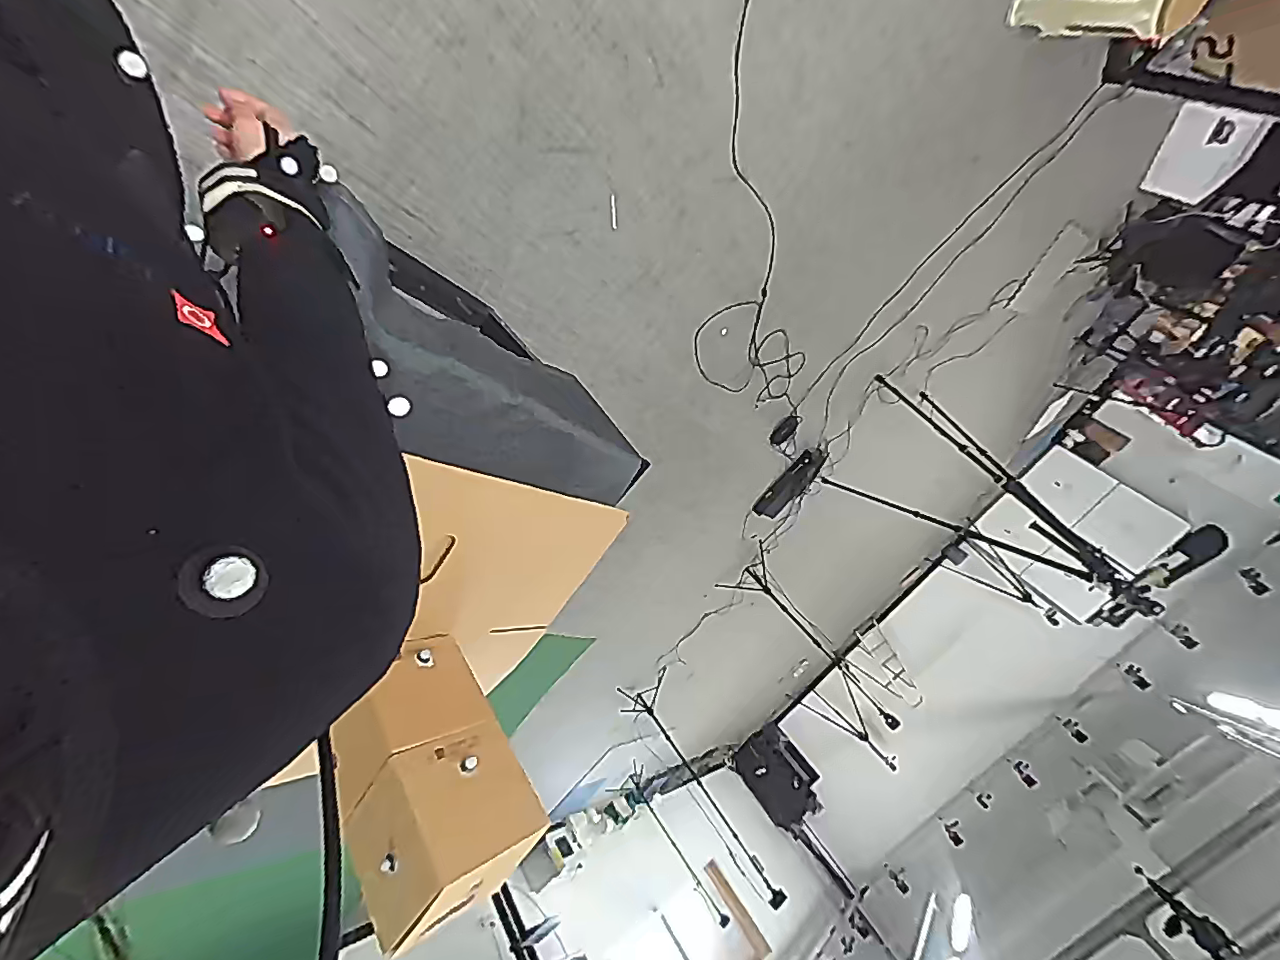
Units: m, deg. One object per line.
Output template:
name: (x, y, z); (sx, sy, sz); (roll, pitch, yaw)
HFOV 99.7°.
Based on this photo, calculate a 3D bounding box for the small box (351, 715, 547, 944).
small box: (-0.265, 0.458, 0.735); (0.168, 0.176, 0.179); (6, 125, -53)

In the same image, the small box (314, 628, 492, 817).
small box: (-0.362, 0.351, 0.815); (0.168, 0.176, 0.179); (7, 124, -54)
